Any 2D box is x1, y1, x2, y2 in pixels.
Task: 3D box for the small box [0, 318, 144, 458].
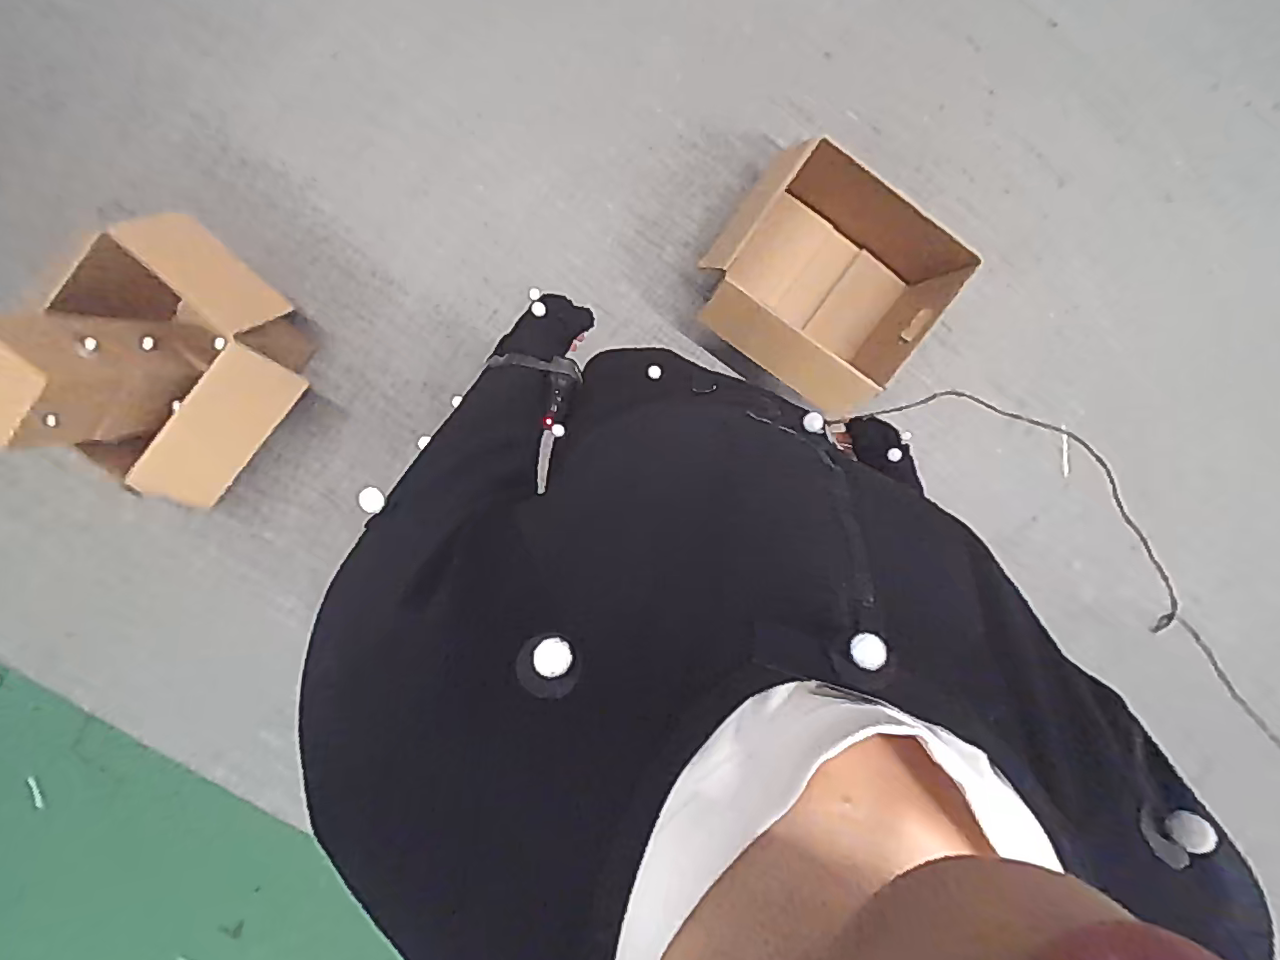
[{"bbox_3d":[-1.072,-0.169,0.979,0.168,0.176,0.179,41,101,-9],"label":"small box"}]
